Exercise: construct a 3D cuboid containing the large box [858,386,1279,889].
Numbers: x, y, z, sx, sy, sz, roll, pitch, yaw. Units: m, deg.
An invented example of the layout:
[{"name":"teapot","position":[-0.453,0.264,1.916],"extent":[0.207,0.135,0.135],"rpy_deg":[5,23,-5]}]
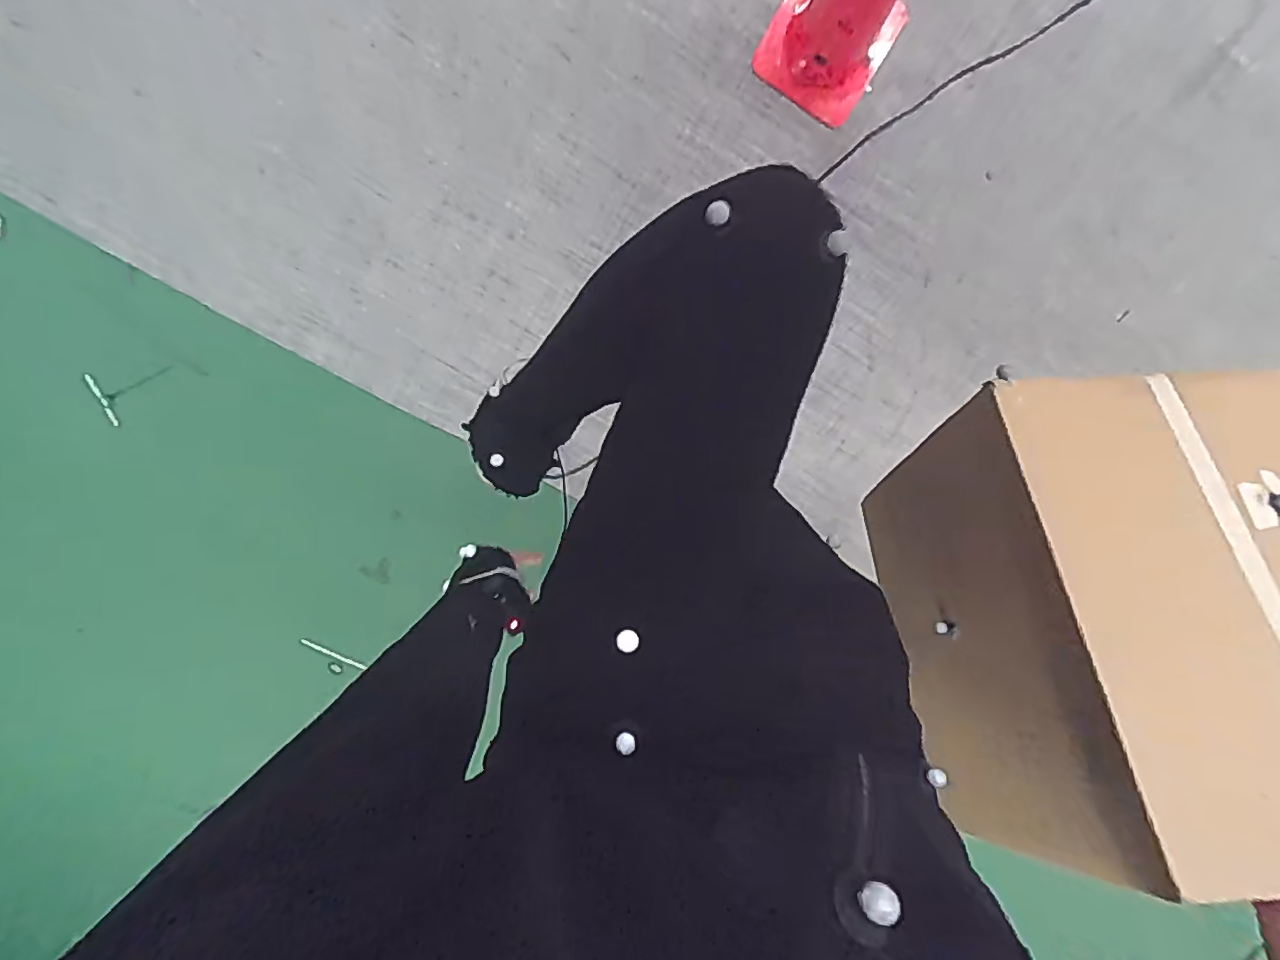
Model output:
[{"name":"large box","position":[0.477,0.154,0.586],"extent":[0.320,0.408,0.320],"rpy_deg":[-1,156,-3]}]
